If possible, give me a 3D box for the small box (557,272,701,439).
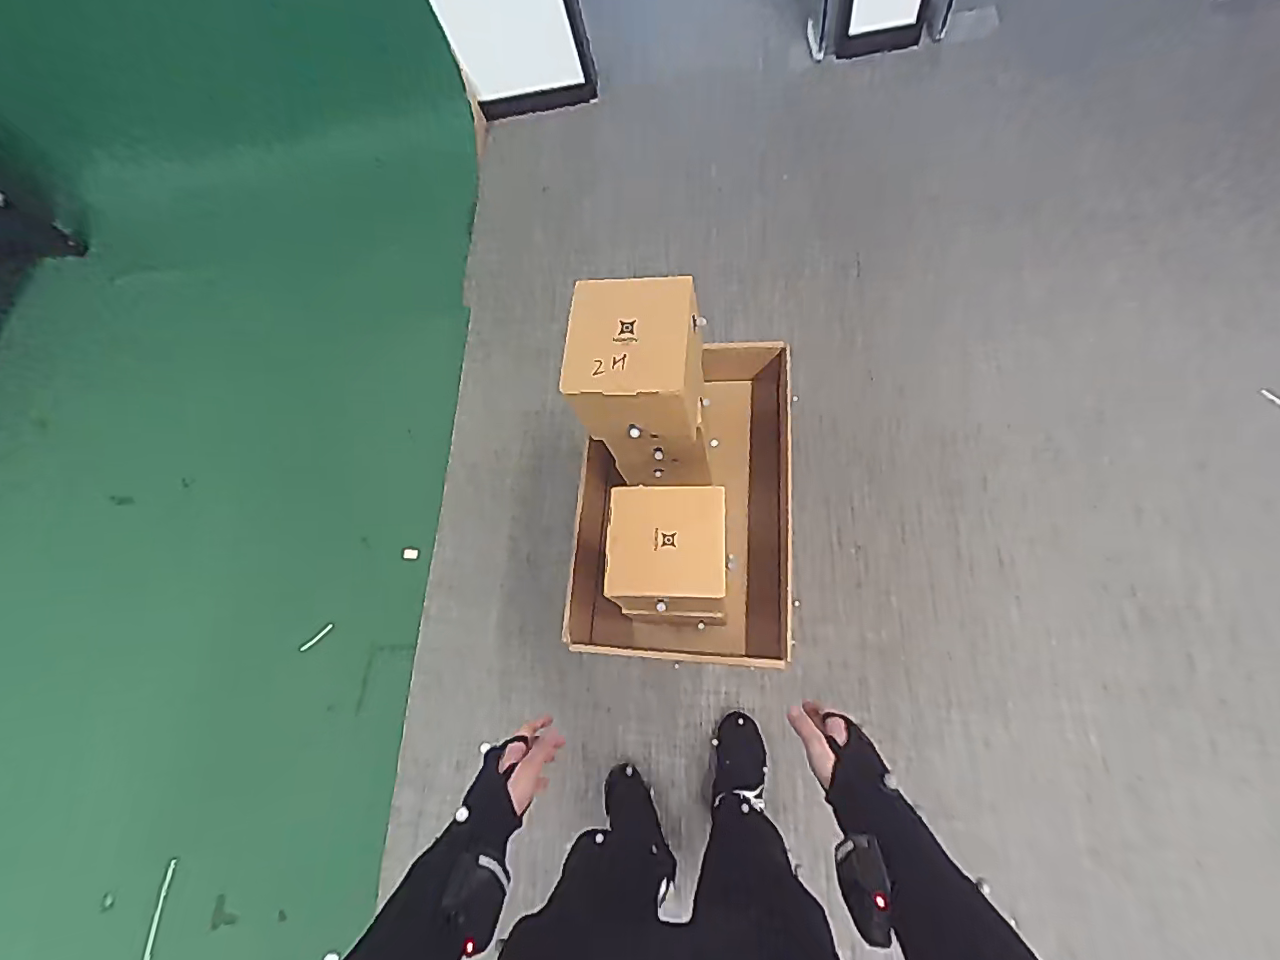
[{"bbox_3d":[-0.005,-0.172,0.781,0.168,0.176,0.179,2,74,13],"label":"small box"}]

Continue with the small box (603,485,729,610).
[{"bbox_3d":[0.051,0.111,0.854,0.179,0.176,0.168,-1,70,12],"label":"small box"}]

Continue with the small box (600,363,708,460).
[{"bbox_3d":[0.026,-0.139,0.941,0.168,0.176,0.179,-5,73,10],"label":"small box"}]
